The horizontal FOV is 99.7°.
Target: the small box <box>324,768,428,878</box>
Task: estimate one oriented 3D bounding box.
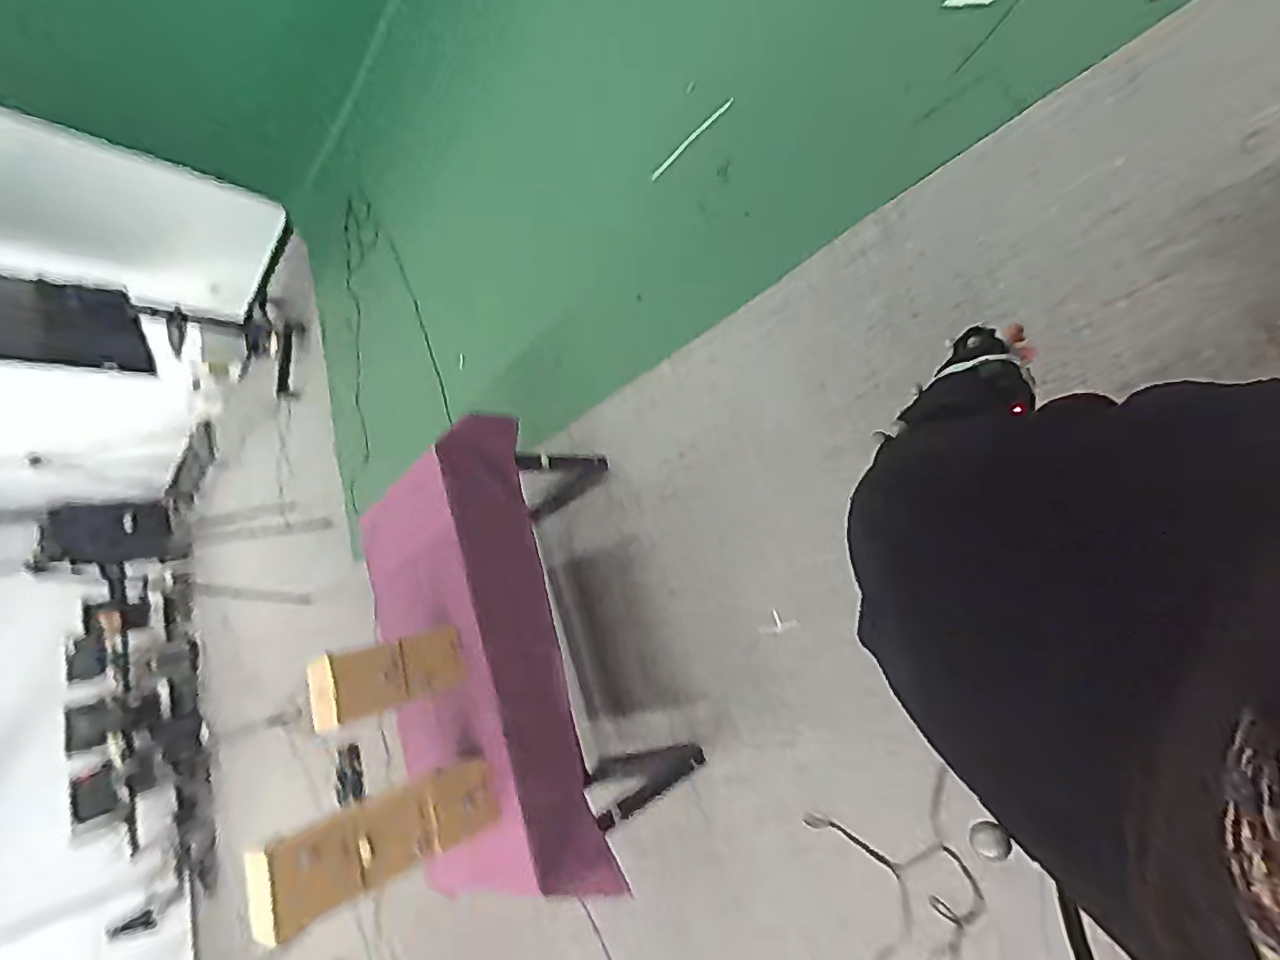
[{"bbox_3d":[-0.624,0.808,1.292,0.179,0.176,0.168,-27,74,39],"label":"small box"}]

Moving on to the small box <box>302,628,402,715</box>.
[{"bbox_3d":[-0.732,0.486,1.376,0.179,0.176,0.168,-25,76,38],"label":"small box"}]

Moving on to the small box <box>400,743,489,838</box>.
[{"bbox_3d":[-0.511,0.805,1.411,0.179,0.176,0.168,-27,73,37],"label":"small box"}]

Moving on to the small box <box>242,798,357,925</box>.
[{"bbox_3d":[-0.728,0.809,1.166,0.179,0.176,0.168,-29,72,38],"label":"small box"}]
